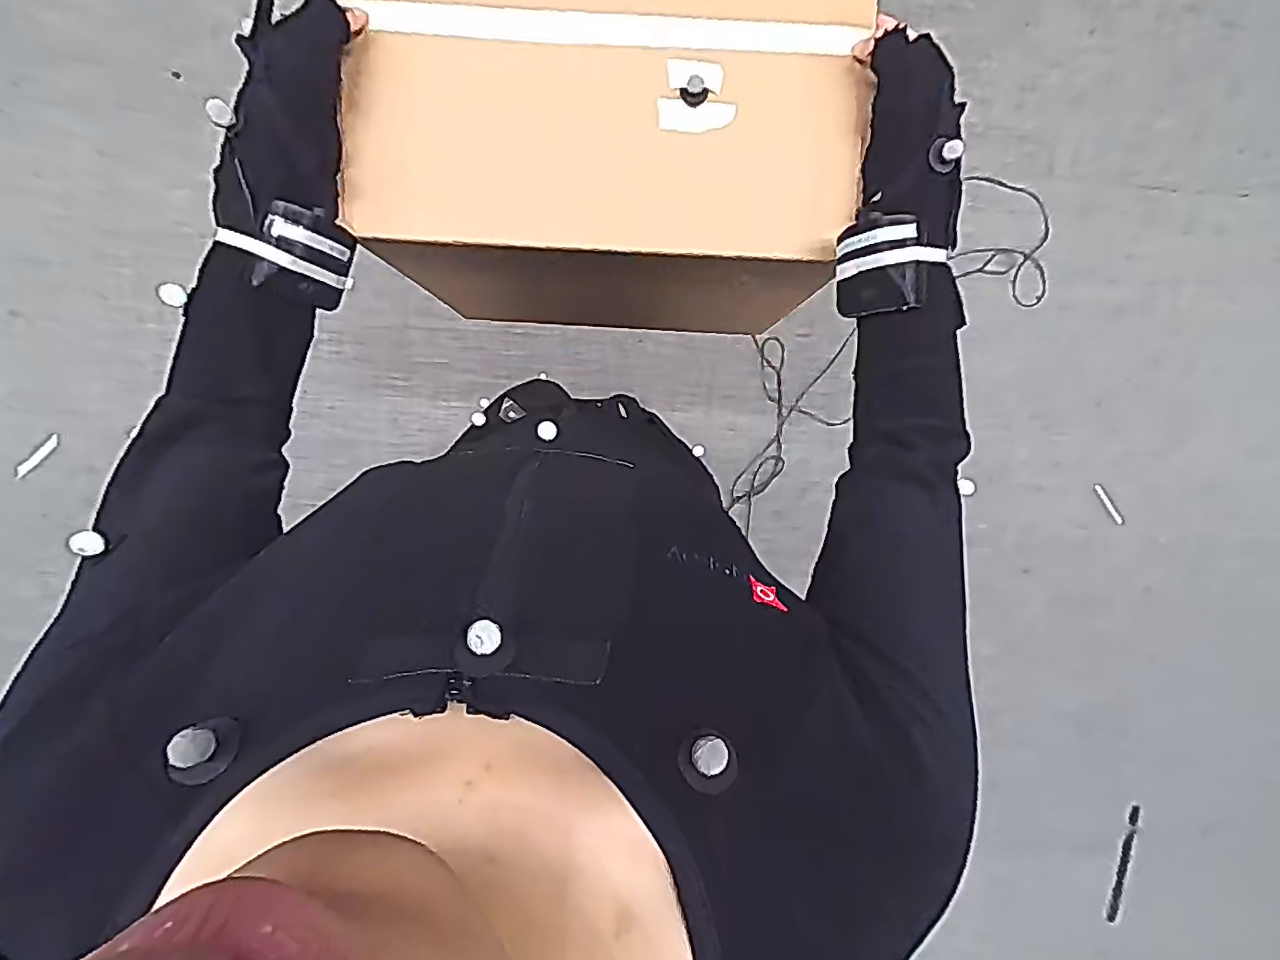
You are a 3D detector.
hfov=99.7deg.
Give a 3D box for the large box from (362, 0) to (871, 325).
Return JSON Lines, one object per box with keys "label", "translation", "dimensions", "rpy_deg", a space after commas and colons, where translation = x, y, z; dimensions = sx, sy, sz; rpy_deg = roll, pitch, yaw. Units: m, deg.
{"label": "large box", "translation": [-0.022, -0.355, 0.572], "dimensions": [0.408, 0.320, 0.320], "rpy_deg": [2, 95, -1]}
